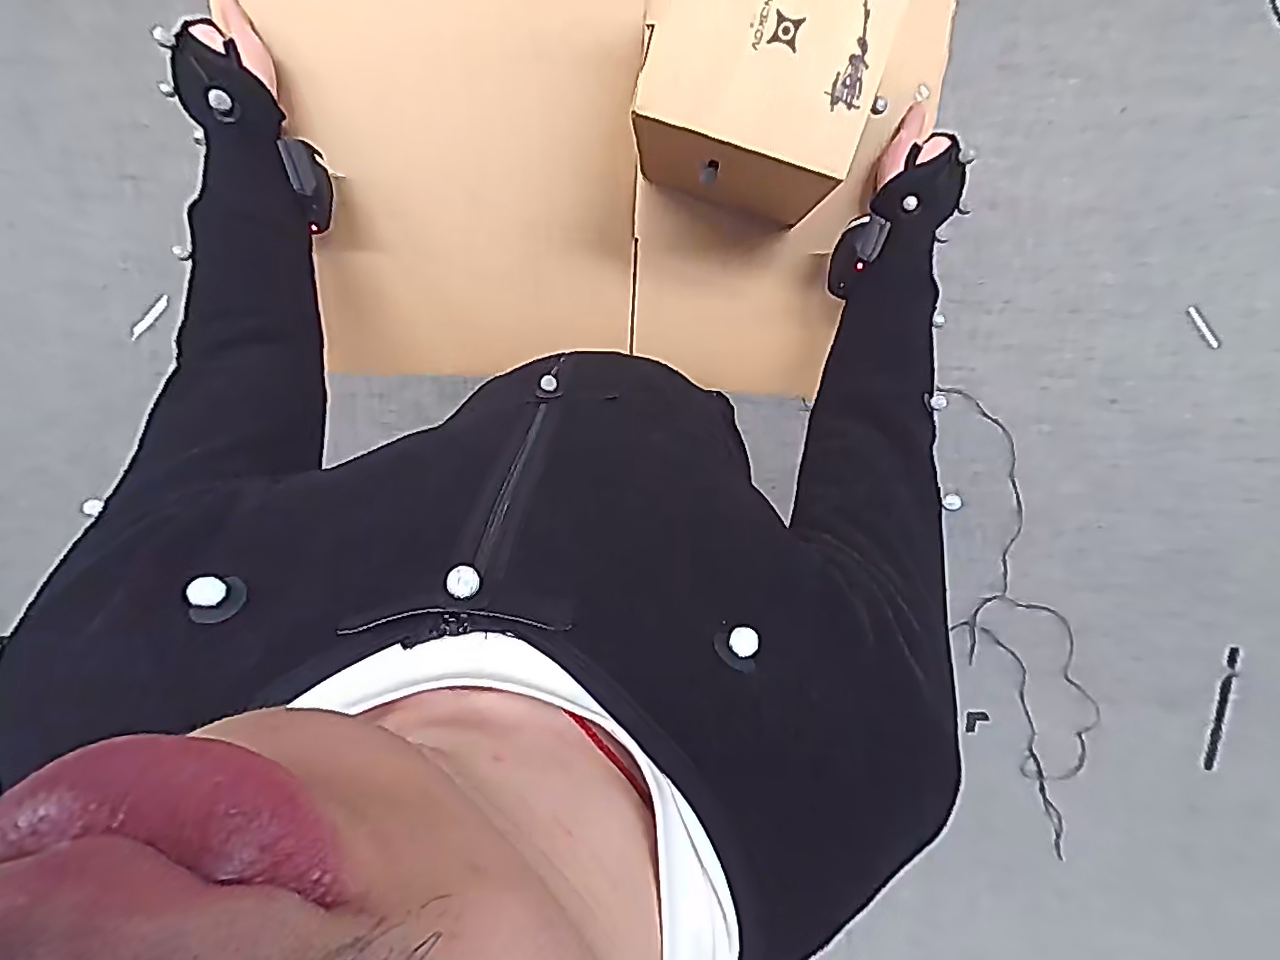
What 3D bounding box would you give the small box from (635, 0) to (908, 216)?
[{"bbox_3d":[0.107,-0.357,0.479,0.179,0.176,0.168,18,104,-1],"label":"small box"}]
